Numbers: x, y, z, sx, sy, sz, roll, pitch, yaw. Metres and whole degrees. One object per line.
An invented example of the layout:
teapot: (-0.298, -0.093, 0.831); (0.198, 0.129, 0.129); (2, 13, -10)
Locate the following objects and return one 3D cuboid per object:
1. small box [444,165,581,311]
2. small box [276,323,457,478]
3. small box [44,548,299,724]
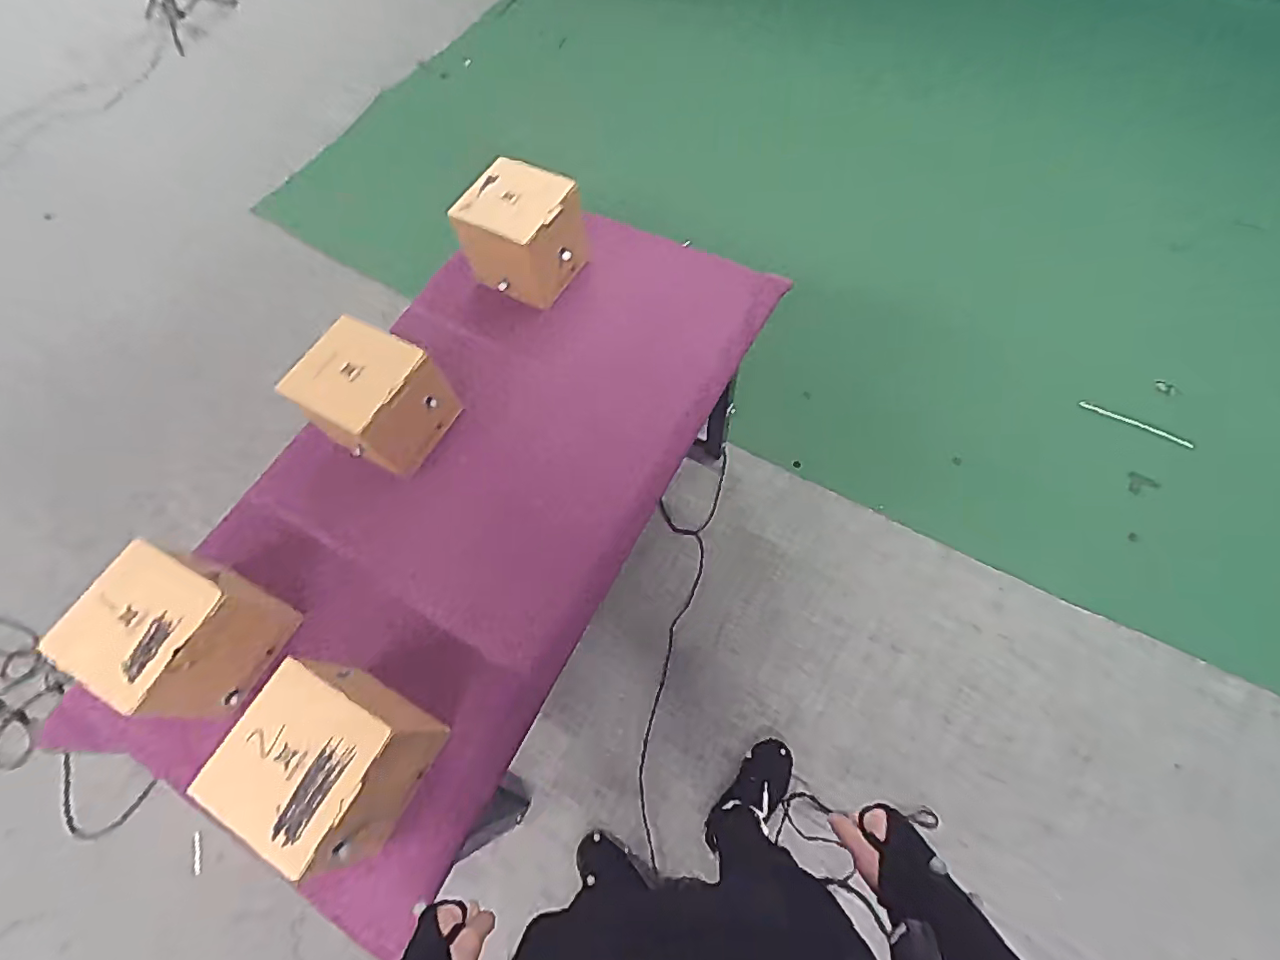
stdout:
small box: (-0.232, -0.457, 1.041); (0.179, 0.176, 0.168); (26, 70, 14)
small box: (-0.443, -0.123, 0.908); (0.179, 0.176, 0.168); (25, 69, 15)
small box: (-0.638, 0.223, 0.763); (0.179, 0.176, 0.168); (23, 69, 15)
